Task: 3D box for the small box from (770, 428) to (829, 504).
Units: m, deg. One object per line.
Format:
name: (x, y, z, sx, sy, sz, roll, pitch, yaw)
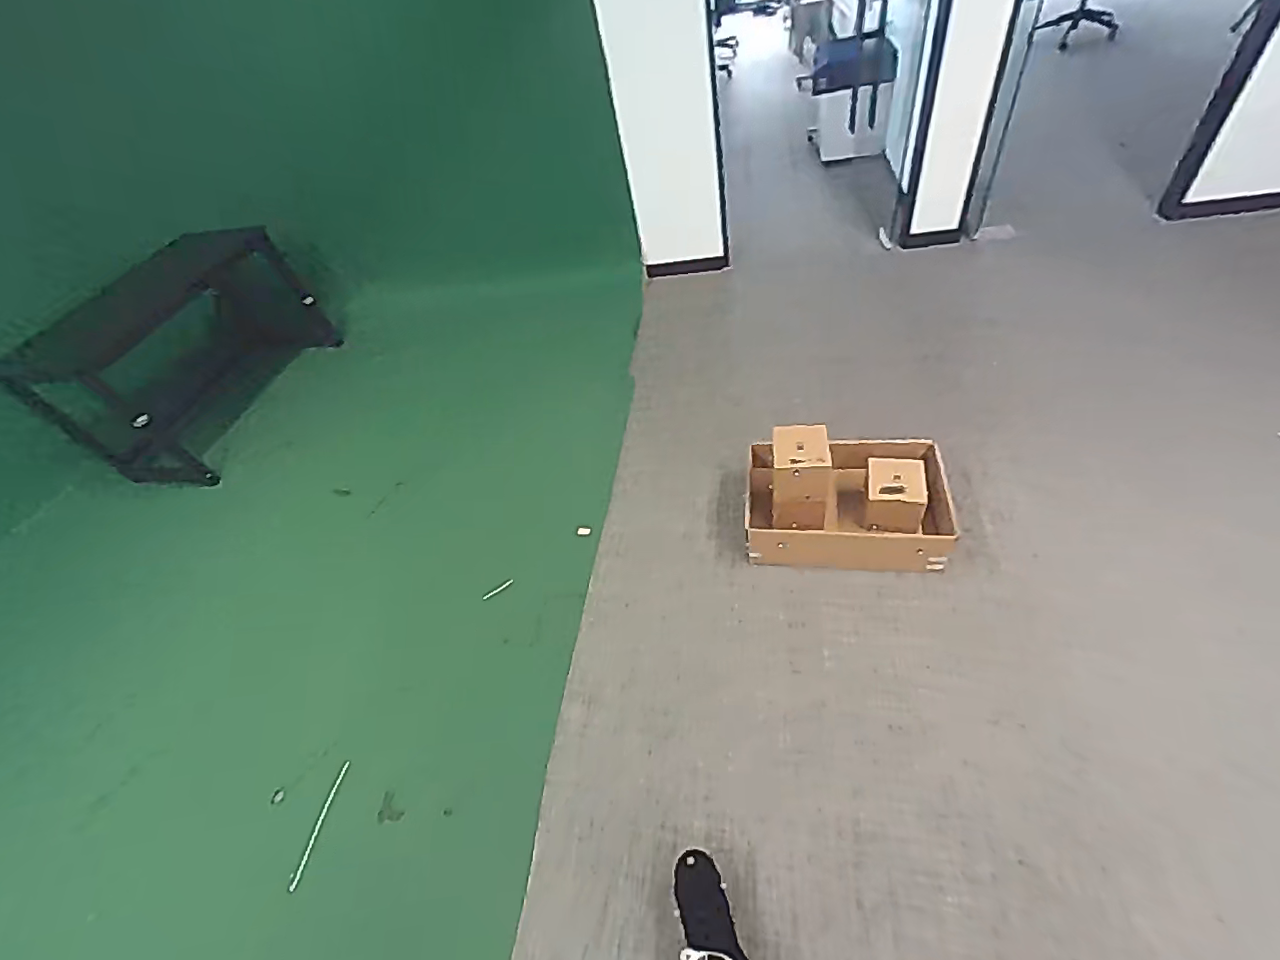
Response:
small box: (0.497, -0.044, 1.701, 0.168, 0.176, 0.179, -2, 49, 12)
